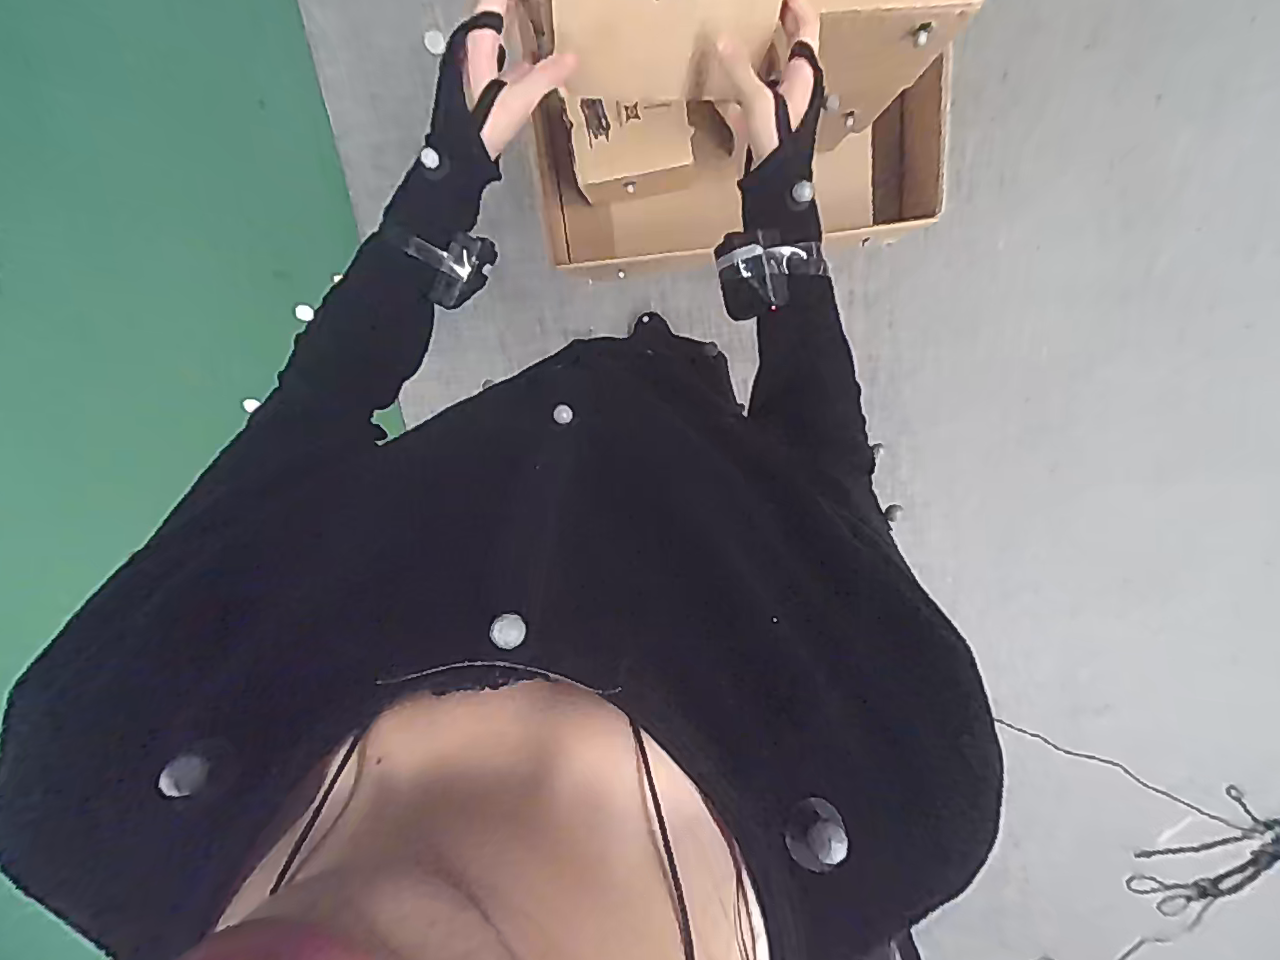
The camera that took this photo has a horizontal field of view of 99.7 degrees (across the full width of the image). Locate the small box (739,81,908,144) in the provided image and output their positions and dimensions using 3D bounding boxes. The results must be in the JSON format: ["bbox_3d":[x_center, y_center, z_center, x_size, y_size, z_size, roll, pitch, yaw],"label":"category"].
[{"bbox_3d":[0.218,-0.536,0.668,0.179,0.176,0.168,-1,106,7],"label":"small box"}]

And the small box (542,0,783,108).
[{"bbox_3d":[0.011,-0.420,0.418,0.179,0.176,0.168,-3,148,-7],"label":"small box"}]

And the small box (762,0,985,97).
[{"bbox_3d":[0.207,-0.491,0.513,0.179,0.176,0.168,0,106,5],"label":"small box"}]
